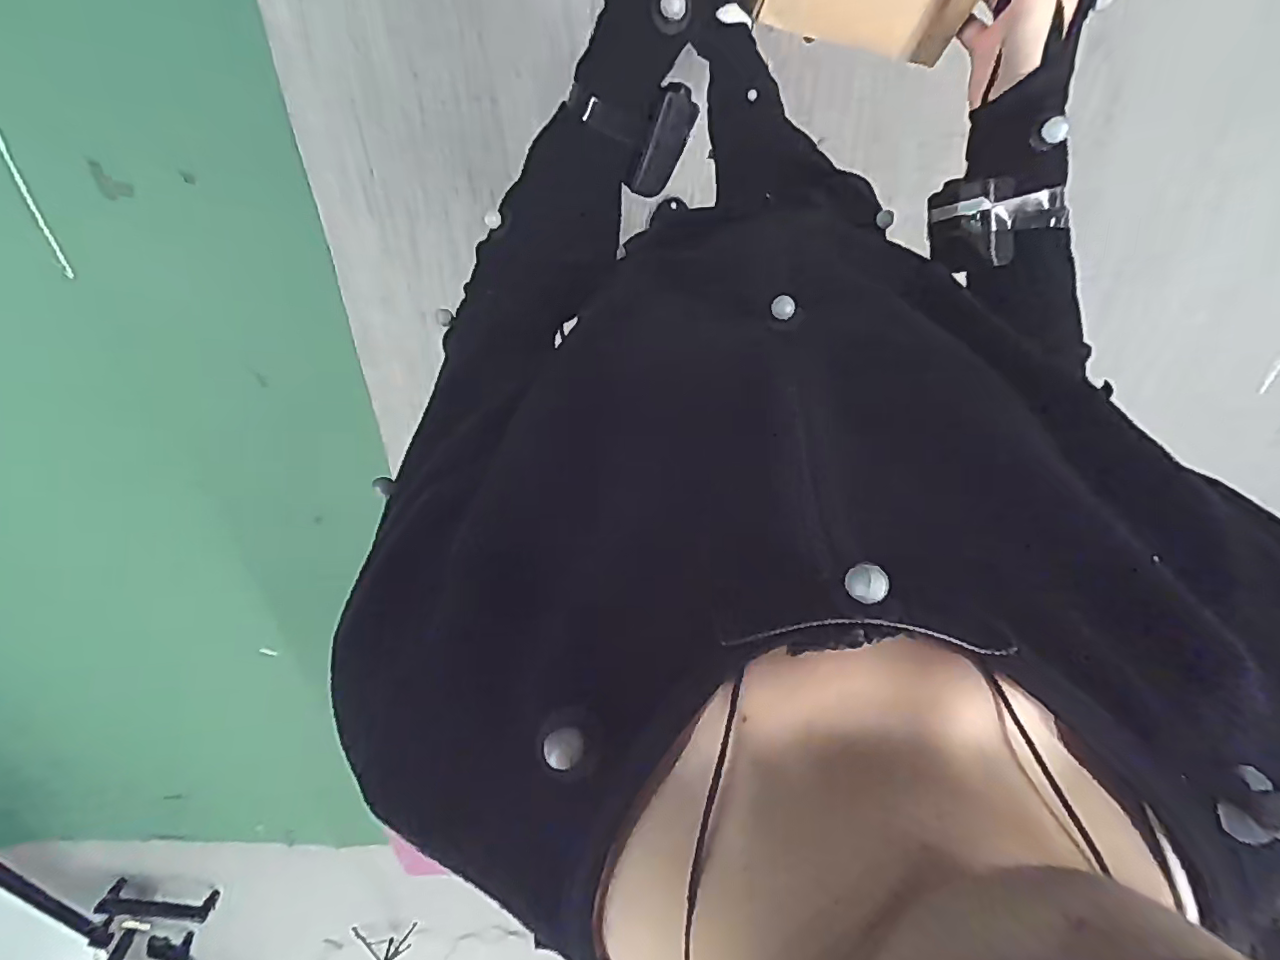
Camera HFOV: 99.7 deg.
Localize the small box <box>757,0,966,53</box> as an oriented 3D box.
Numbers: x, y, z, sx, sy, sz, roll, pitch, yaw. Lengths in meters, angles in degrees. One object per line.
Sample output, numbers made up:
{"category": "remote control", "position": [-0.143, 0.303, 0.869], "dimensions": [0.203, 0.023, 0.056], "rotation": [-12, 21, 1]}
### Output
{"category": "small box", "position": [0.136, -0.412, 0.330], "dimensions": [0.179, 0.176, 0.168], "rotation": [-11, 154, -26]}
